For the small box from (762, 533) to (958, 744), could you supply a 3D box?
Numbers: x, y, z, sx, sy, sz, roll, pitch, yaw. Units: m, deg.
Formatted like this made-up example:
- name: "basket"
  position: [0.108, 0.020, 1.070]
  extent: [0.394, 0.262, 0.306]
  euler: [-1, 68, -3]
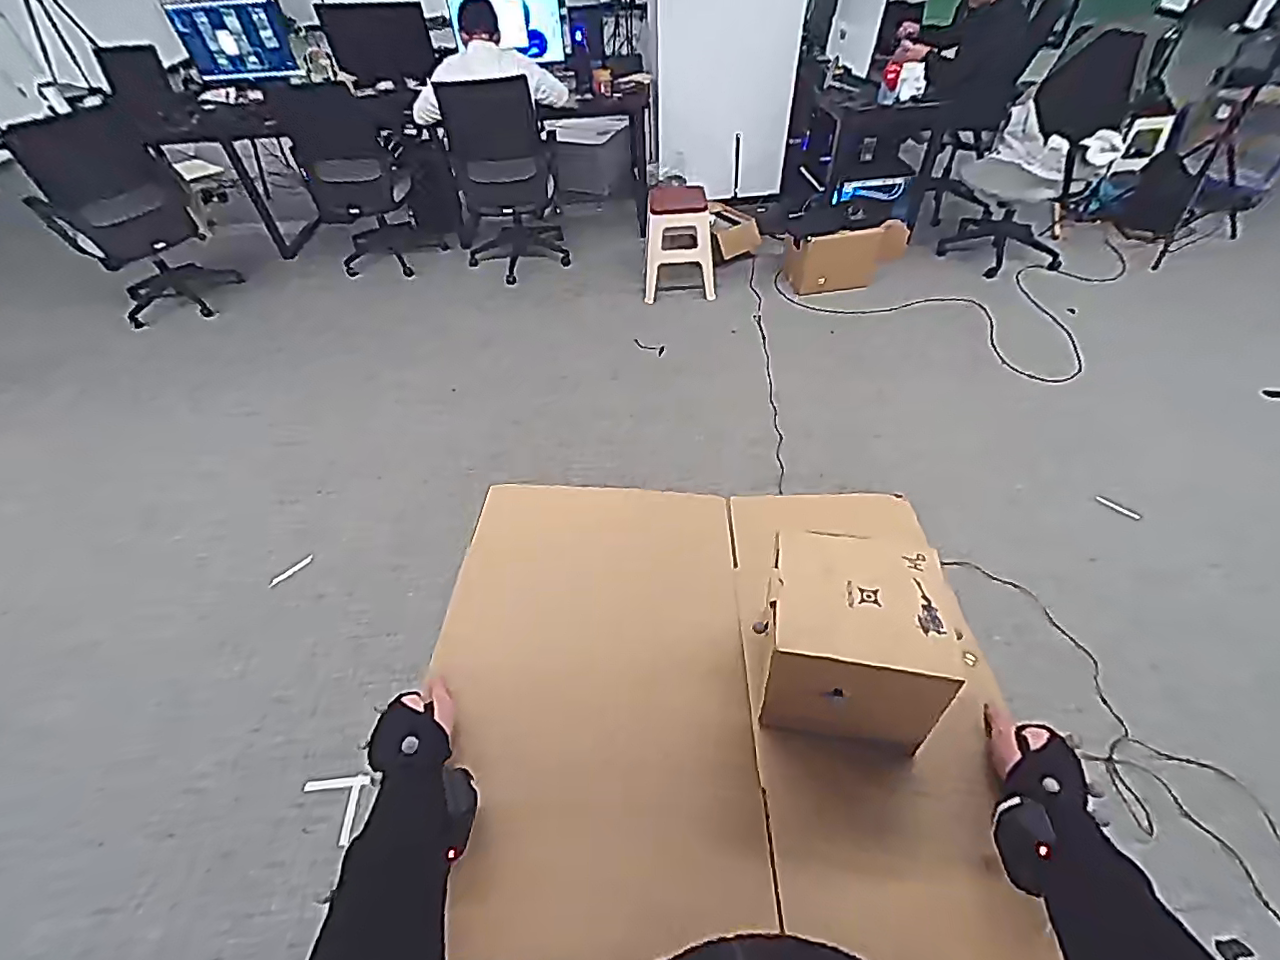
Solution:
- name: "small box"
  position: [0.239, 0.185, 0.633]
  extent: [0.179, 0.176, 0.168]
  euler: [5, 43, 12]
